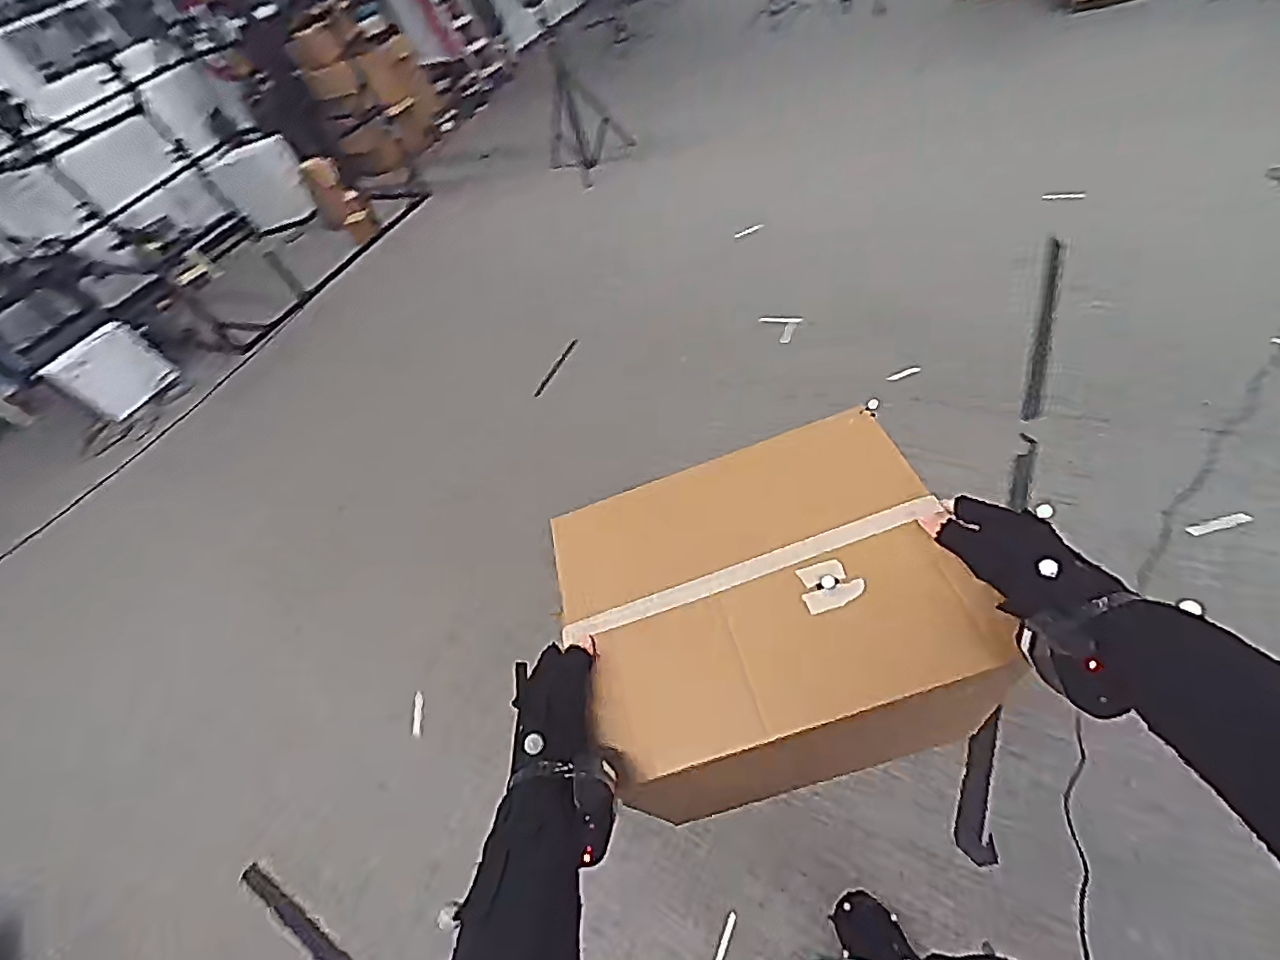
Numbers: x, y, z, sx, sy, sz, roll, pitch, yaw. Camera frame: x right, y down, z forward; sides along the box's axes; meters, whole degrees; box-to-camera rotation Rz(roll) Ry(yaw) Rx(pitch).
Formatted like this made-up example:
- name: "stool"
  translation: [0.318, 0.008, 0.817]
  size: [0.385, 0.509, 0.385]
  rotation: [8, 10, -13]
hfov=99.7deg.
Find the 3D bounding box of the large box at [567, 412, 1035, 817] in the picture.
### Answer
- name: "large box"
  translation: [0.164, 0.183, 0.685]
  size: [0.408, 0.320, 0.320]
  rotation: [-20, 51, 4]
